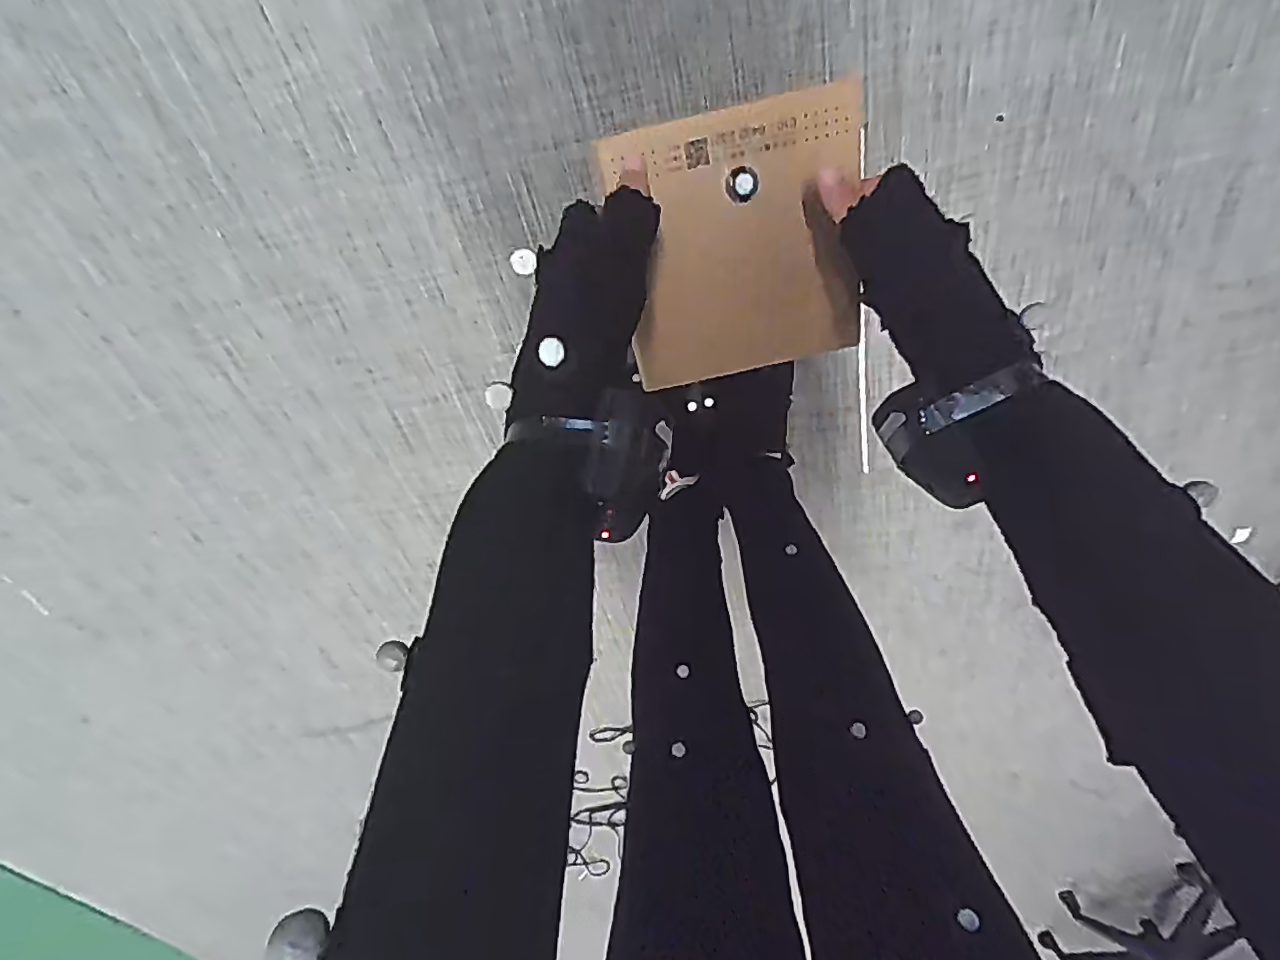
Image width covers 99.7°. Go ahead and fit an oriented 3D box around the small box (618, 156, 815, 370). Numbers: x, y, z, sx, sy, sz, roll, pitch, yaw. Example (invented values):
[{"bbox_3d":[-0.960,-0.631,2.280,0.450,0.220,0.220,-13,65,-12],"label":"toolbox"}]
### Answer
[{"bbox_3d":[0.081,-0.251,0.615,0.179,0.176,0.168,-14,121,9],"label":"small box"}]
